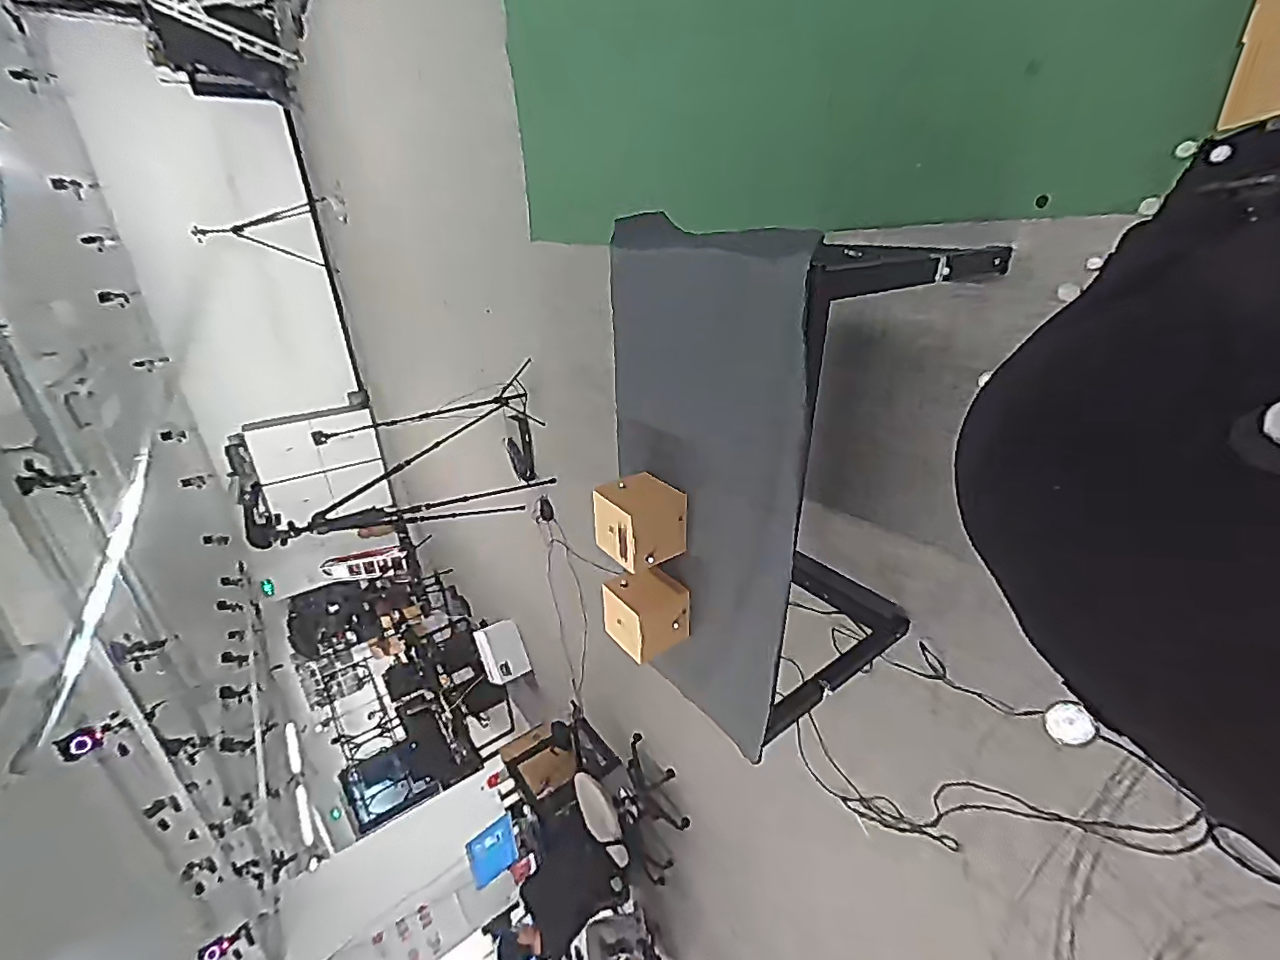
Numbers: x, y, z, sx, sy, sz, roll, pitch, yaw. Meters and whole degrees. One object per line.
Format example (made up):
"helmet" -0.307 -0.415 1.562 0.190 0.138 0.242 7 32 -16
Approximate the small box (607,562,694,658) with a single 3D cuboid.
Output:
"small box" 0.029 0.346 1.482 0.179 0.176 0.168 29 130 47
